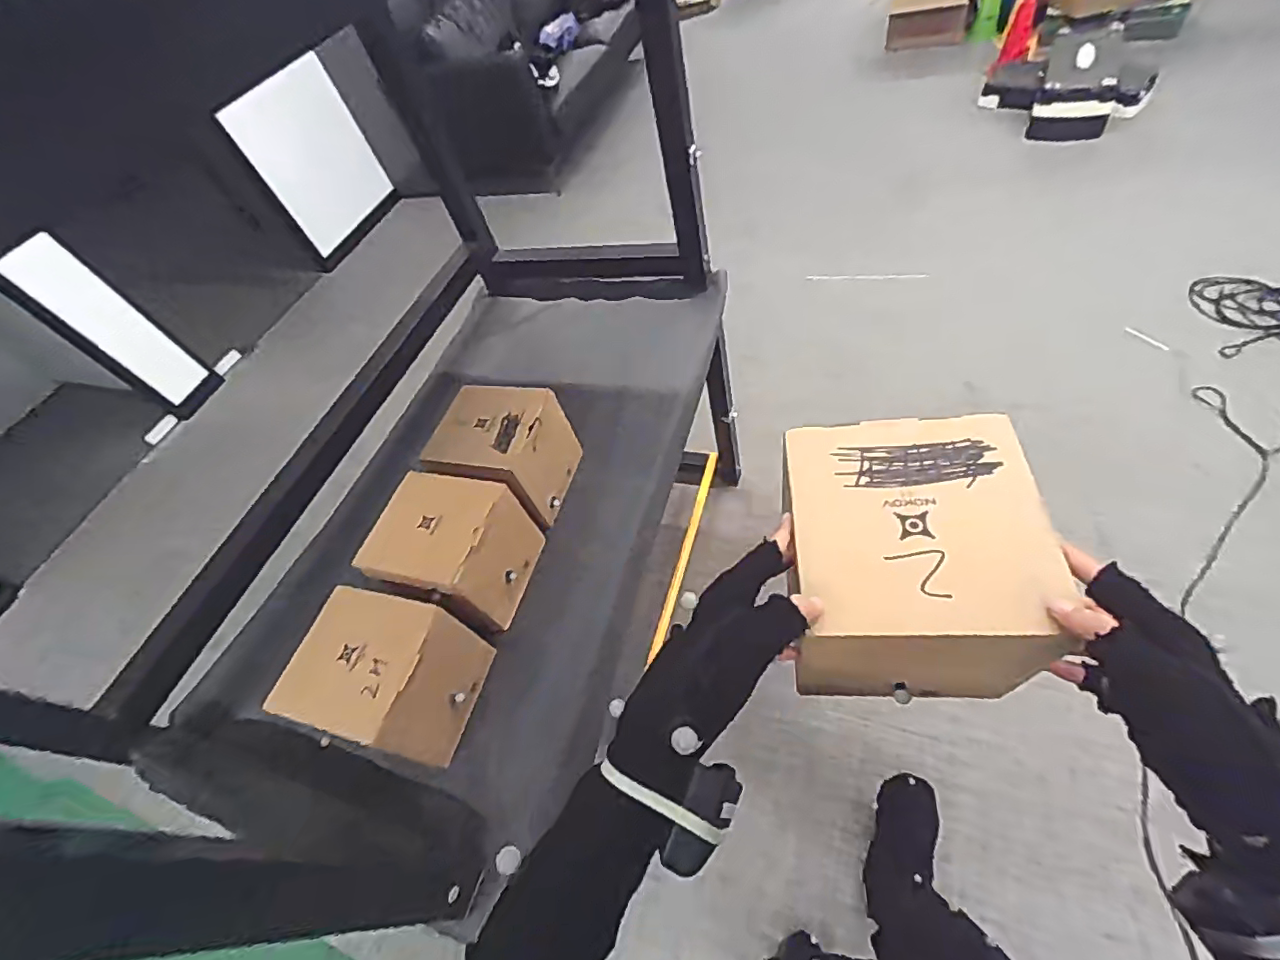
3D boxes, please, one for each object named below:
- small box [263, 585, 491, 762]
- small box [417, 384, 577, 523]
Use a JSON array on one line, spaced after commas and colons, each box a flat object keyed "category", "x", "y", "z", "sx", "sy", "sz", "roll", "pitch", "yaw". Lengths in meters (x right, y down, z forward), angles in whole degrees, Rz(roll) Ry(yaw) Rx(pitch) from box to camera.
[{"category": "small box", "x": -0.336, "y": 0.261, "z": 0.725, "sx": 0.179, "sy": 0.176, "sz": 0.168, "roll": 6, "pitch": 57, "yaw": 20}, {"category": "small box", "x": -0.228, "y": -0.042, "z": 0.917, "sx": 0.179, "sy": 0.176, "sz": 0.168, "roll": 6, "pitch": 57, "yaw": 21}]
